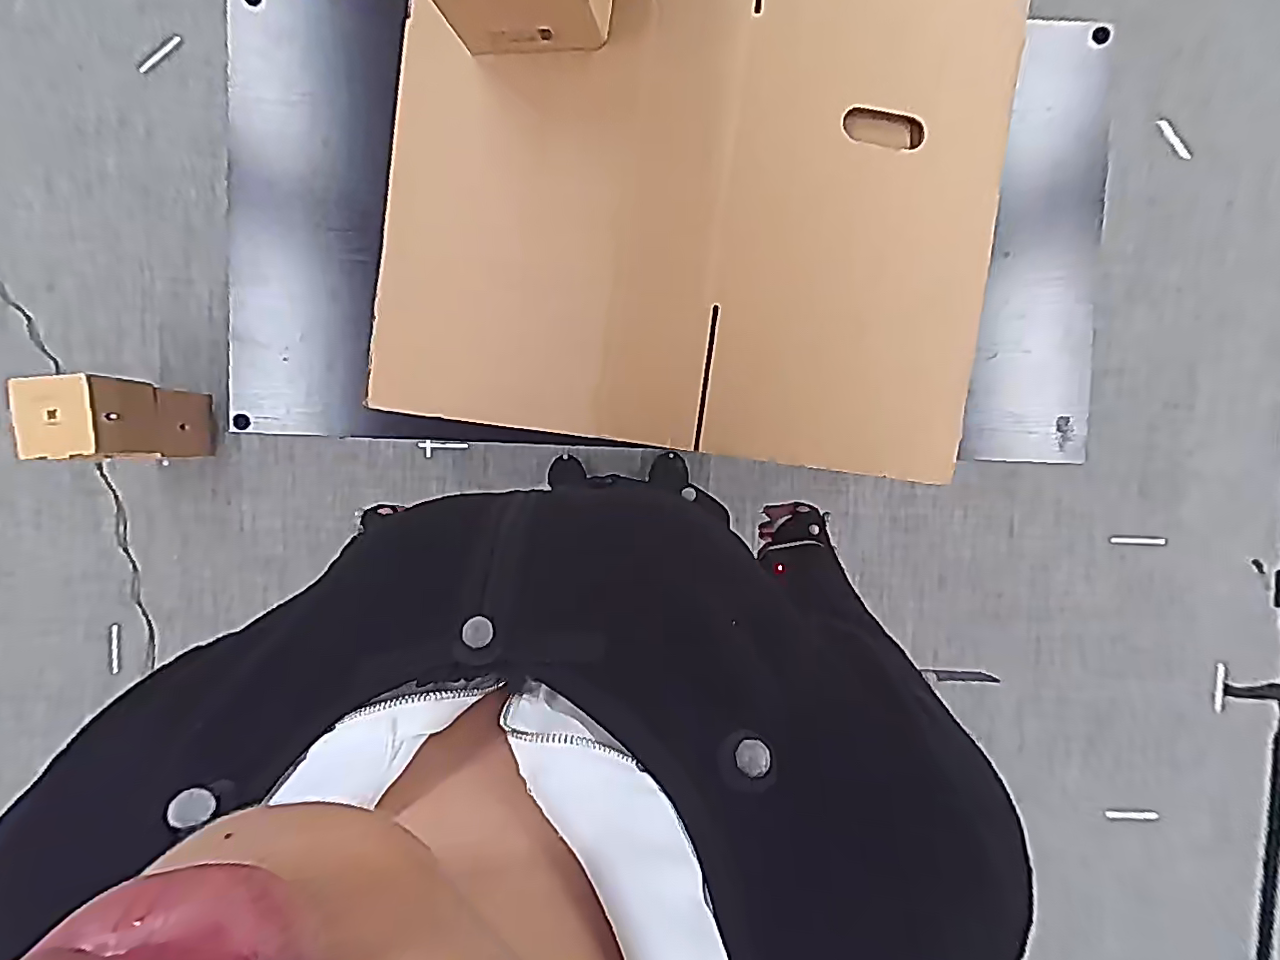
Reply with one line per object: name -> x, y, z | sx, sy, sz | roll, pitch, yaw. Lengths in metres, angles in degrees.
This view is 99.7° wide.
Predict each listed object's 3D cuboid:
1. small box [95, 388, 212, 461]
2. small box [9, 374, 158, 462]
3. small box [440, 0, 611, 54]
small box -> -1.250, -0.138, 1.391 | 0.168, 0.176, 0.179 | -2, 94, 0
small box -> -1.250, -0.136, 1.228 | 0.168, 0.176, 0.179 | -5, 92, -1
small box -> -0.119, -0.547, 0.501 | 0.168, 0.176, 0.179 | 8, 91, 14
